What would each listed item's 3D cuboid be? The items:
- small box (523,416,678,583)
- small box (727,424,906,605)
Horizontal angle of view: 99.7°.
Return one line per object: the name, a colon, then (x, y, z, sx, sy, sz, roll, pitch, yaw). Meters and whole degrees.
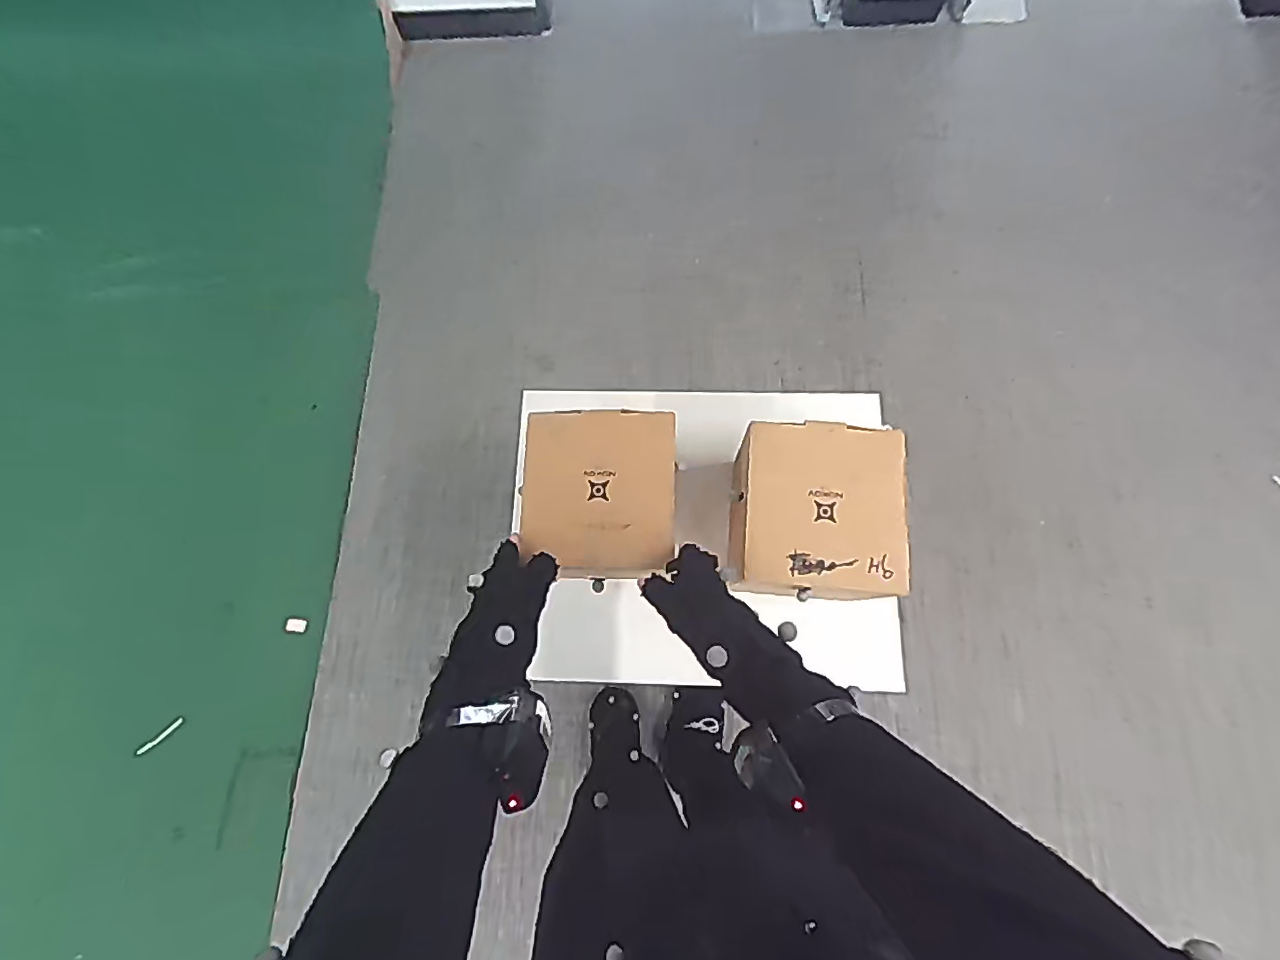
small box: (-0.038, 0.033, 0.664, 0.168, 0.176, 0.179, -1, 77, 4)
small box: (0.198, 0.050, 0.646, 0.168, 0.176, 0.179, 5, 75, 4)
